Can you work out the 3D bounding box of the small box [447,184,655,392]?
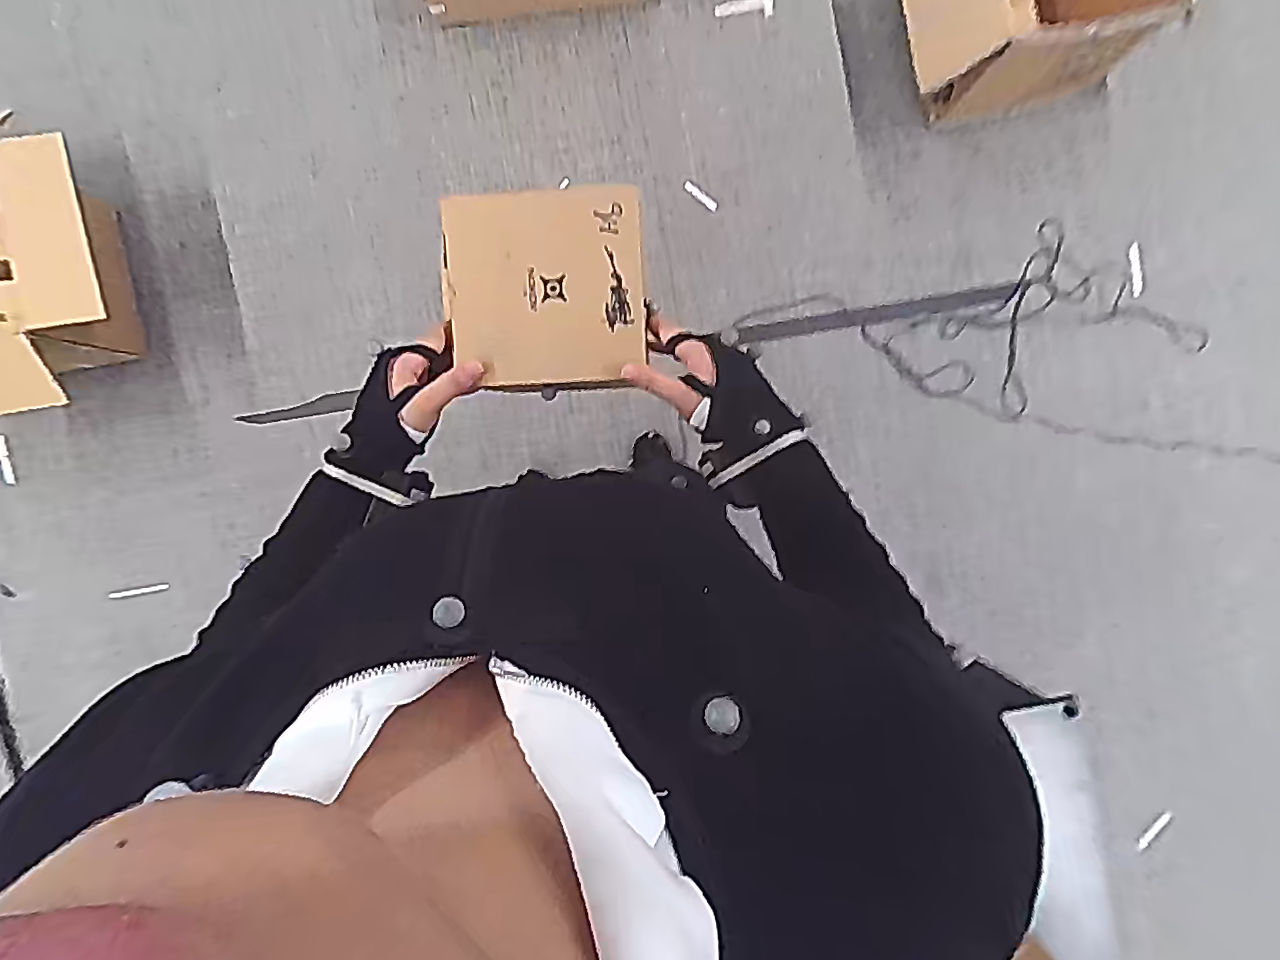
[{"bbox_3d":[-0.078,-0.181,0.561,0.179,0.176,0.168,-2,96,4],"label":"small box"}]
